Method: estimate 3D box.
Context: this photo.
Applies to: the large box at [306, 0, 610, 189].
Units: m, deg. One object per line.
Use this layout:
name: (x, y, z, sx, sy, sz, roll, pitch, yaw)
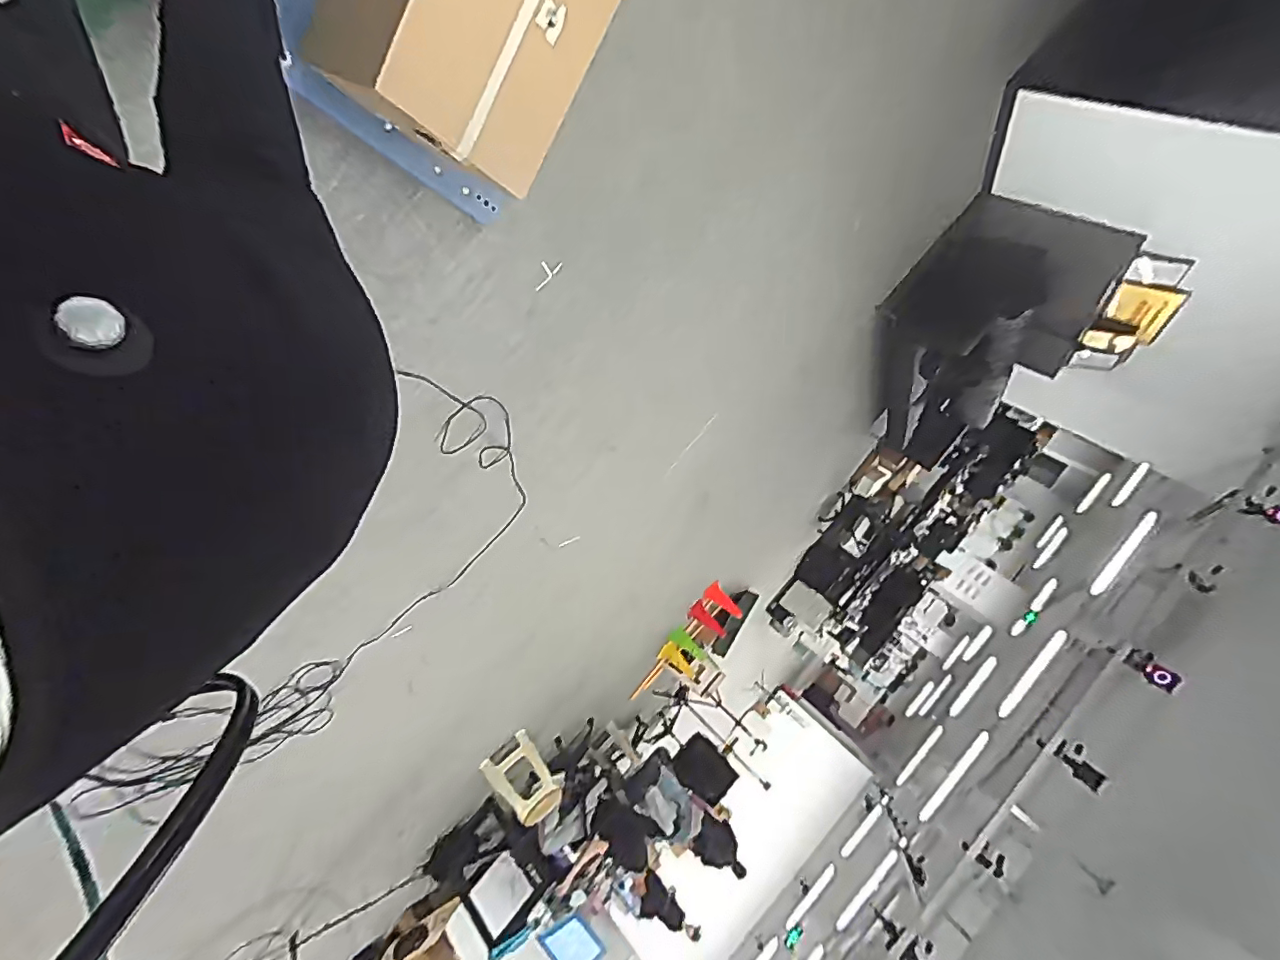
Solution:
large box: (-0.320, -0.824, 0.963, 0.320, 0.320, 0.408, 12, 112, -58)
